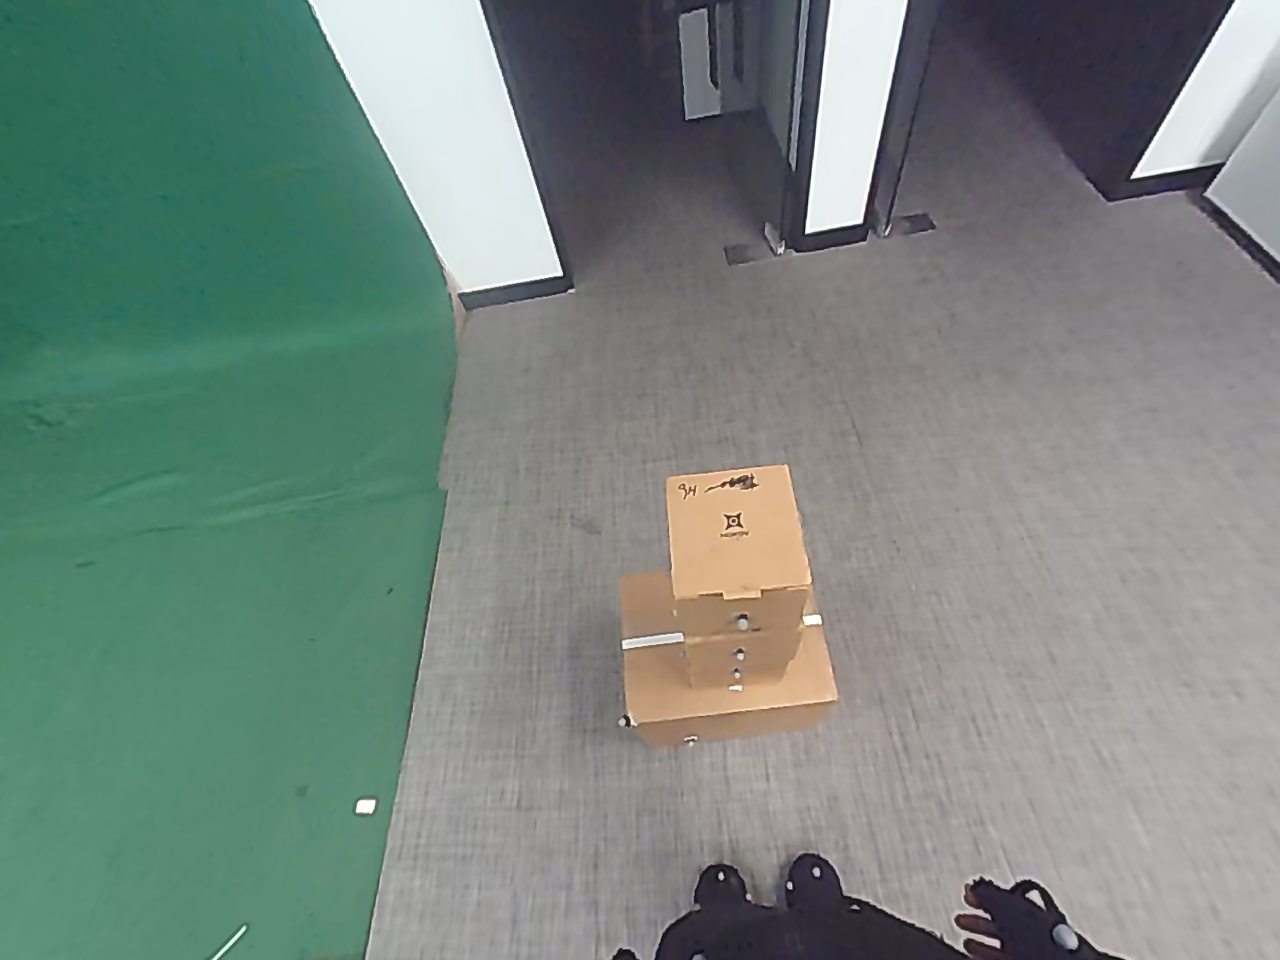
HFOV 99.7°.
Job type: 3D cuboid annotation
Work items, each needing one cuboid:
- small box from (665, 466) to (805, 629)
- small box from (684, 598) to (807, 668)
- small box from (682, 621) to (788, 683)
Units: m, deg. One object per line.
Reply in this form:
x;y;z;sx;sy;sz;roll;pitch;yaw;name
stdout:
0.129;0.103;0.752;0.168;0.176;0.179;-6;58;8;small box
0.155;0.198;0.883;0.179;0.176;0.168;-10;57;3;small box
0.172;0.280;1.024;0.179;0.176;0.168;-6;58;5;small box
